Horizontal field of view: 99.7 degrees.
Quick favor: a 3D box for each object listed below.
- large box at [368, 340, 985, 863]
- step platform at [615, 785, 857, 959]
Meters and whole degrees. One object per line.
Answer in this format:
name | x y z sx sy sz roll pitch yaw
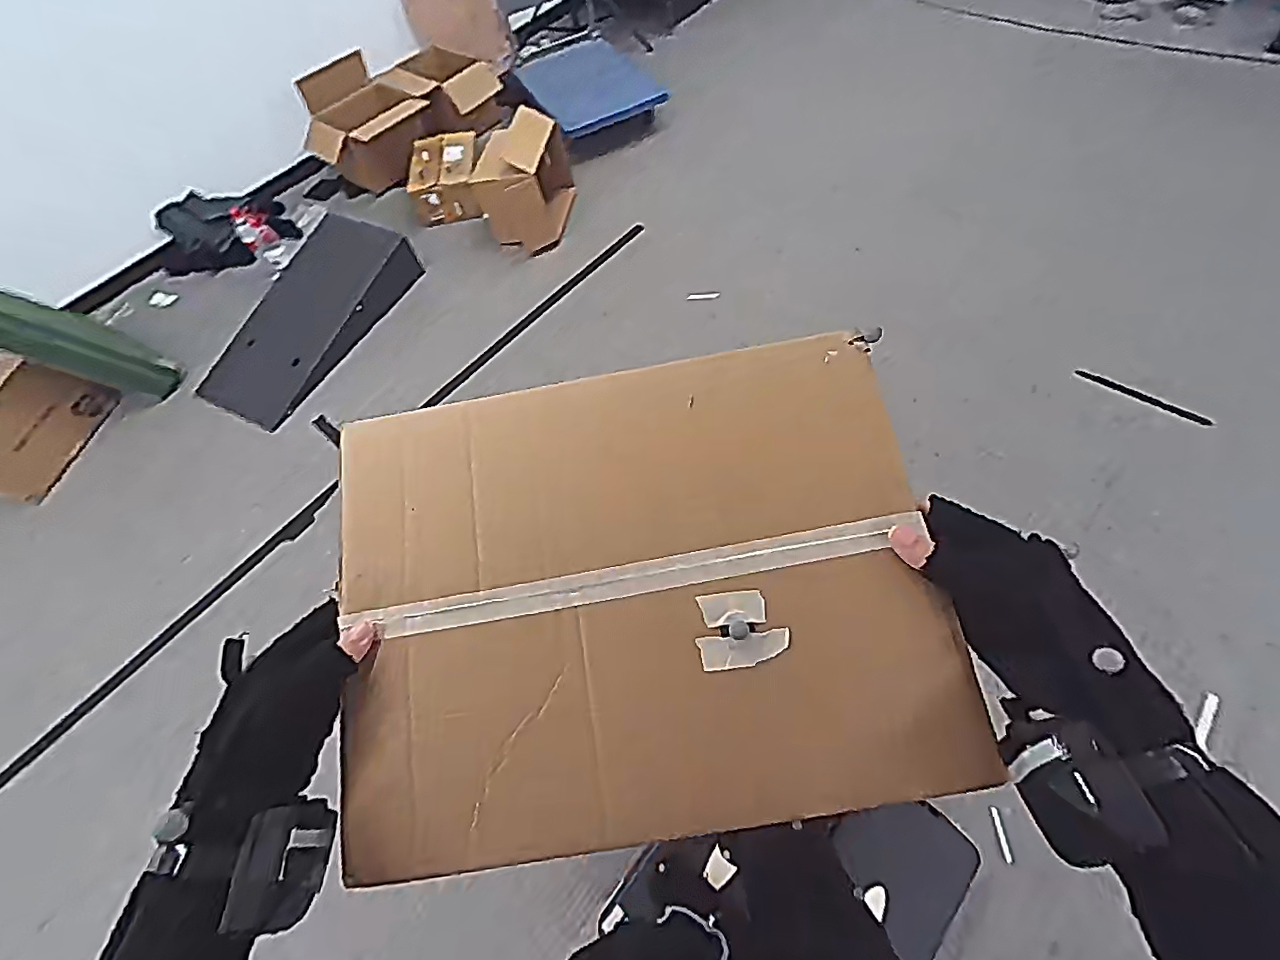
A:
large box | 0.009 0.112 0.528 0.408 0.320 0.320 -10 73 2
step platform | 0.250 0.786 1.245 0.286 0.204 0.684 33 69 23
